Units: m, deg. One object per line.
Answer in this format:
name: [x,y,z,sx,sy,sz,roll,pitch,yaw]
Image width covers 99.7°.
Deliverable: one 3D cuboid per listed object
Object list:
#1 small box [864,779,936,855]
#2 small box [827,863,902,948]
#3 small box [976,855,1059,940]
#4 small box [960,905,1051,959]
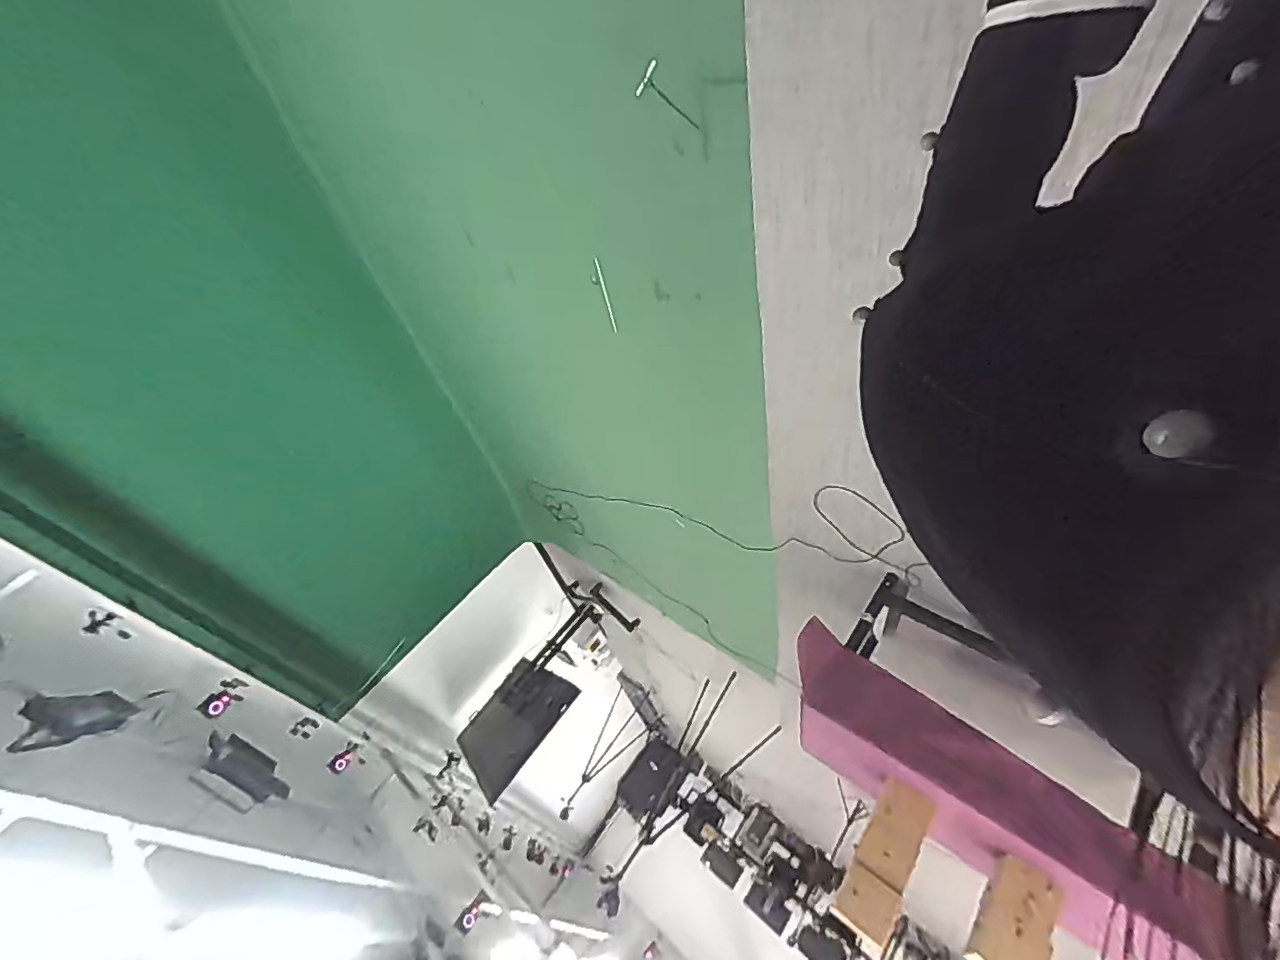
small box: [0.972,1.254,2.027,0.179,0.176,0.168,27,151,32]
small box: [0.775,1.466,1.872,0.179,0.176,0.168,27,151,31]
small box: [1.270,1.402,1.818,0.168,0.176,0.179,27,151,33]
small box: [1.175,1.512,1.741,0.179,0.176,0.168,28,151,32]
